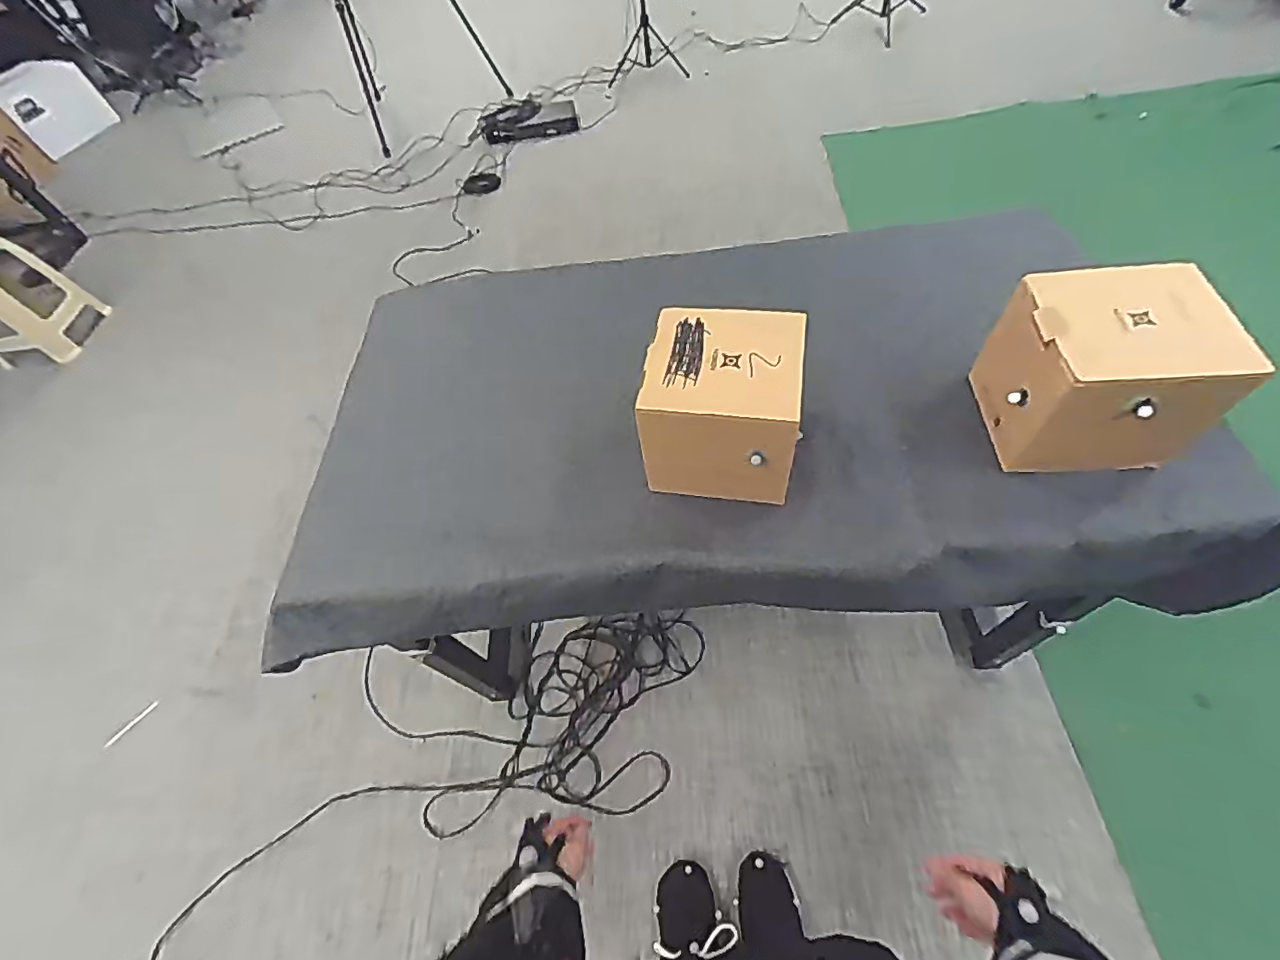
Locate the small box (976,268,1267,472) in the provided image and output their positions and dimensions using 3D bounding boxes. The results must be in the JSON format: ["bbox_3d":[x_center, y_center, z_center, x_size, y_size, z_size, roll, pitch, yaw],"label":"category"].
[{"bbox_3d":[0.523,-0.120,0.631,0.179,0.176,0.168,-1,58,8],"label":"small box"}]
